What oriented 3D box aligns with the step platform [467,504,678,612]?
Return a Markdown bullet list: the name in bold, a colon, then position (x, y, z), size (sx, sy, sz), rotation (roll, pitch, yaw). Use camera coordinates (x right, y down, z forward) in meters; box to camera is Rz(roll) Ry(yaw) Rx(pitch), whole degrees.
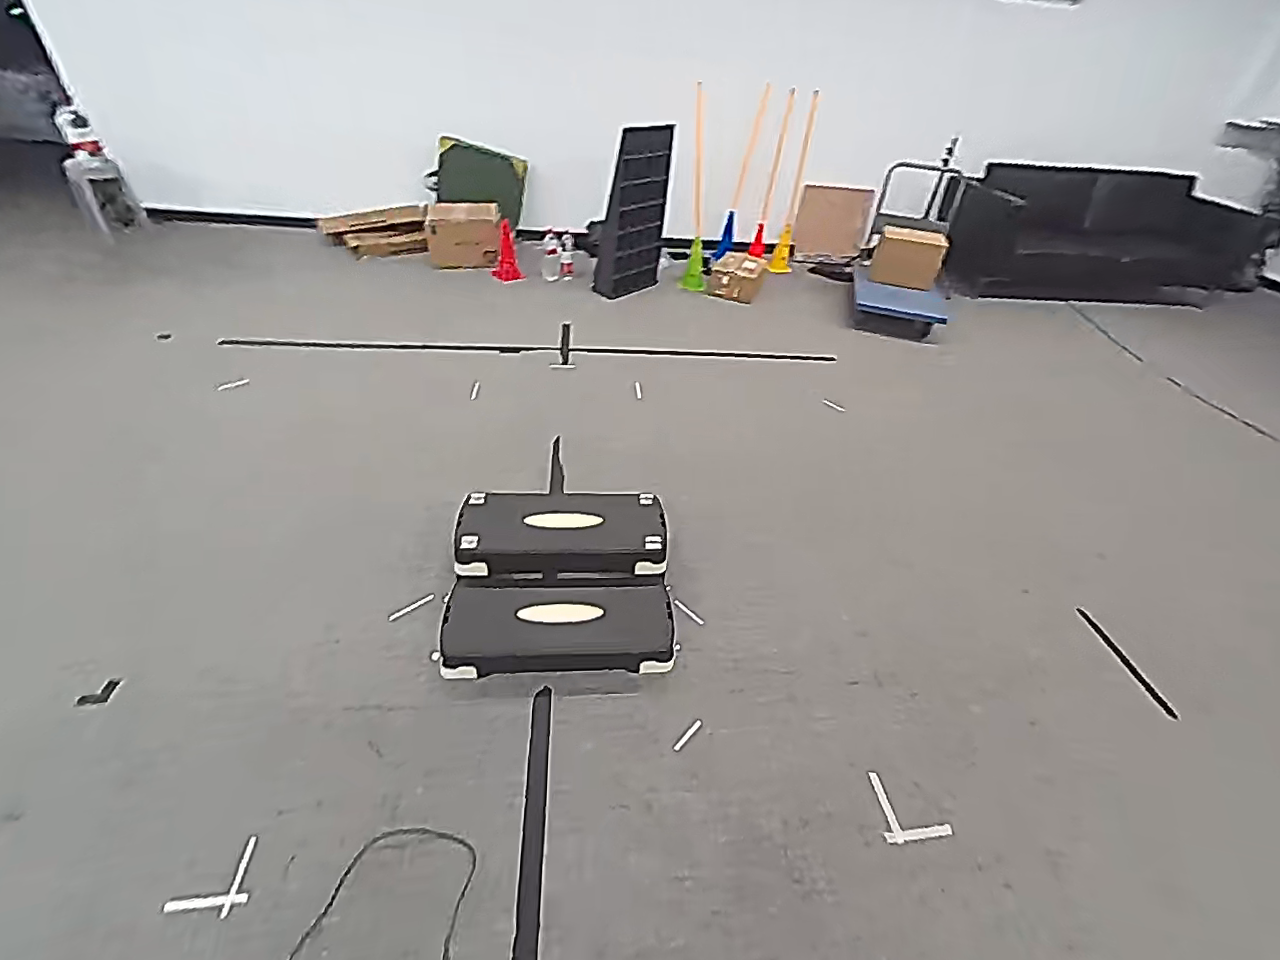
- **step platform**: position (-0.214, 0.253, 1.797), size (0.684, 0.204, 0.286), rotation (4, 38, -3)
